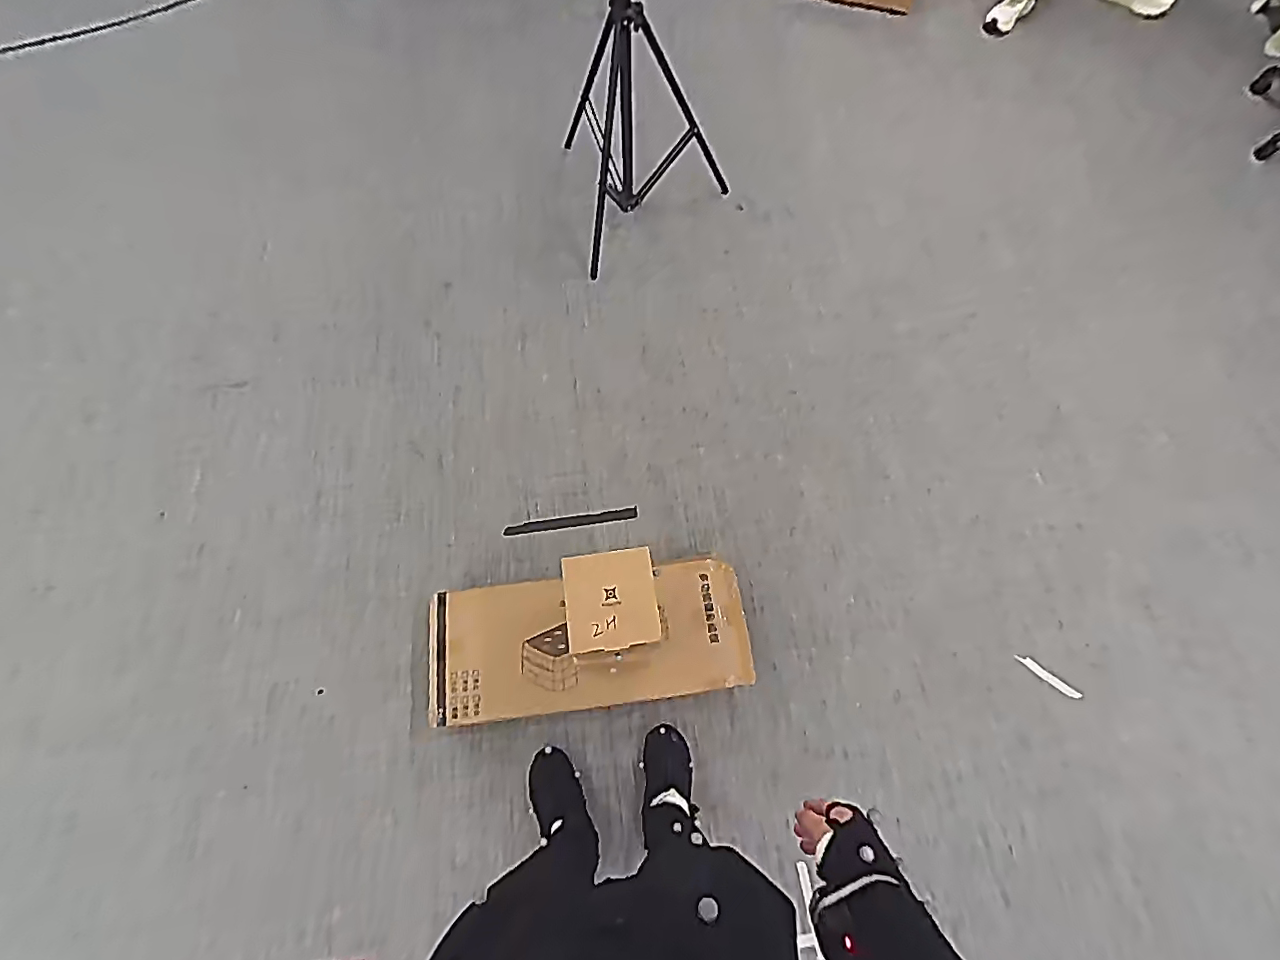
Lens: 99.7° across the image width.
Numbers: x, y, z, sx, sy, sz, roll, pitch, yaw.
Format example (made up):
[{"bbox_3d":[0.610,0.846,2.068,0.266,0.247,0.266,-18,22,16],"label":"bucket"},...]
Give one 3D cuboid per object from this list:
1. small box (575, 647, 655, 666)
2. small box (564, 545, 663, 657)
[{"bbox_3d":[-0.056,0.313,1.199,0.168,0.176,0.179,-4,70,-1],"label":"small box"},{"bbox_3d":[-0.052,0.240,1.050,0.168,0.176,0.179,-8,69,-2],"label":"small box"}]
